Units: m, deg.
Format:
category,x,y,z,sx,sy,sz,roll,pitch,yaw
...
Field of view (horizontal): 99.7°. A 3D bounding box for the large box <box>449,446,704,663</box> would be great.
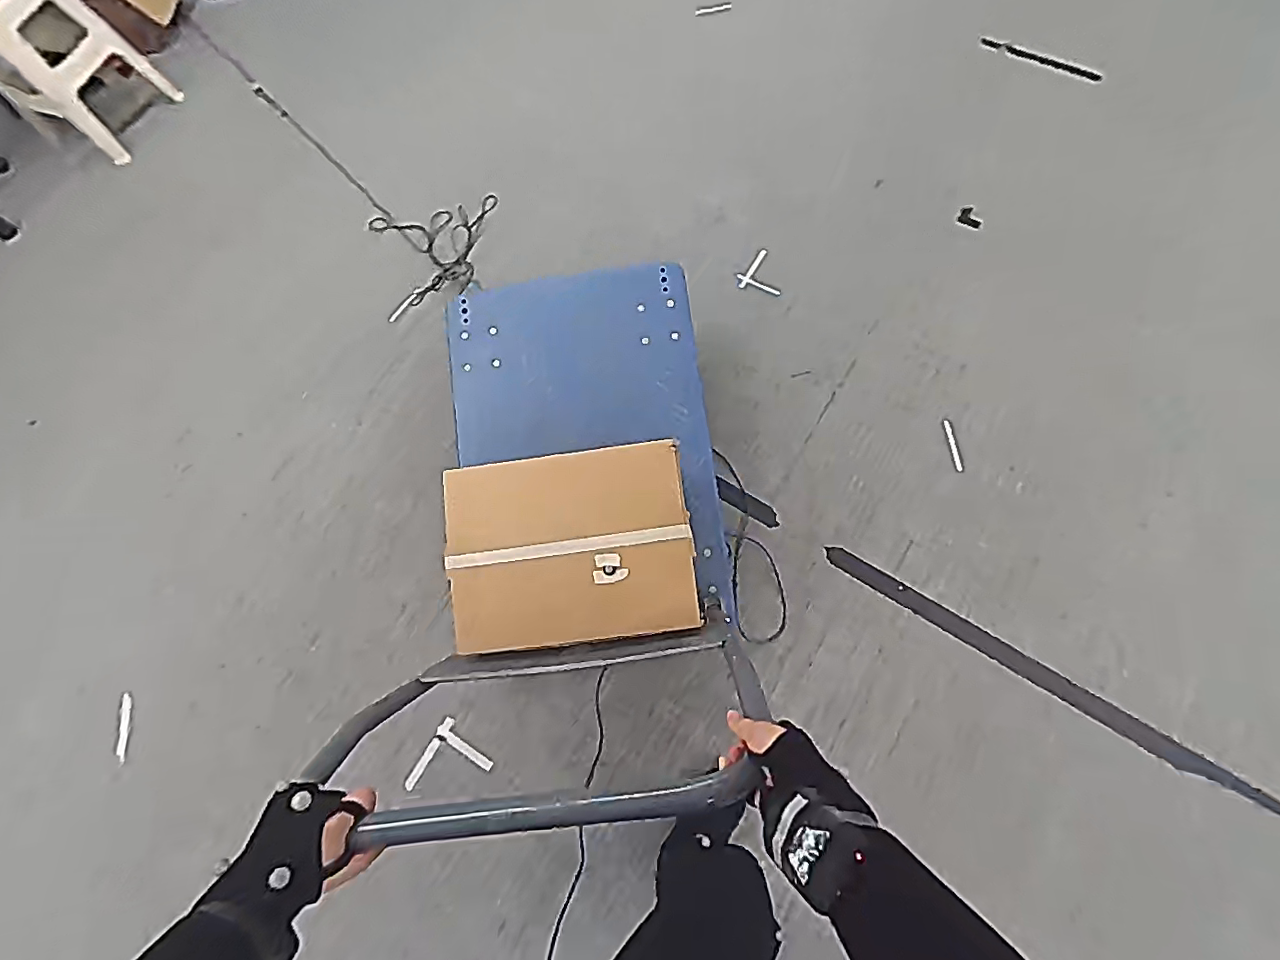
category,x,y,z,sx,sy,sz,roll,pitch,yaw
large box,-0.106,0.142,1.050,0.408,0.320,0.320,-8,83,2
